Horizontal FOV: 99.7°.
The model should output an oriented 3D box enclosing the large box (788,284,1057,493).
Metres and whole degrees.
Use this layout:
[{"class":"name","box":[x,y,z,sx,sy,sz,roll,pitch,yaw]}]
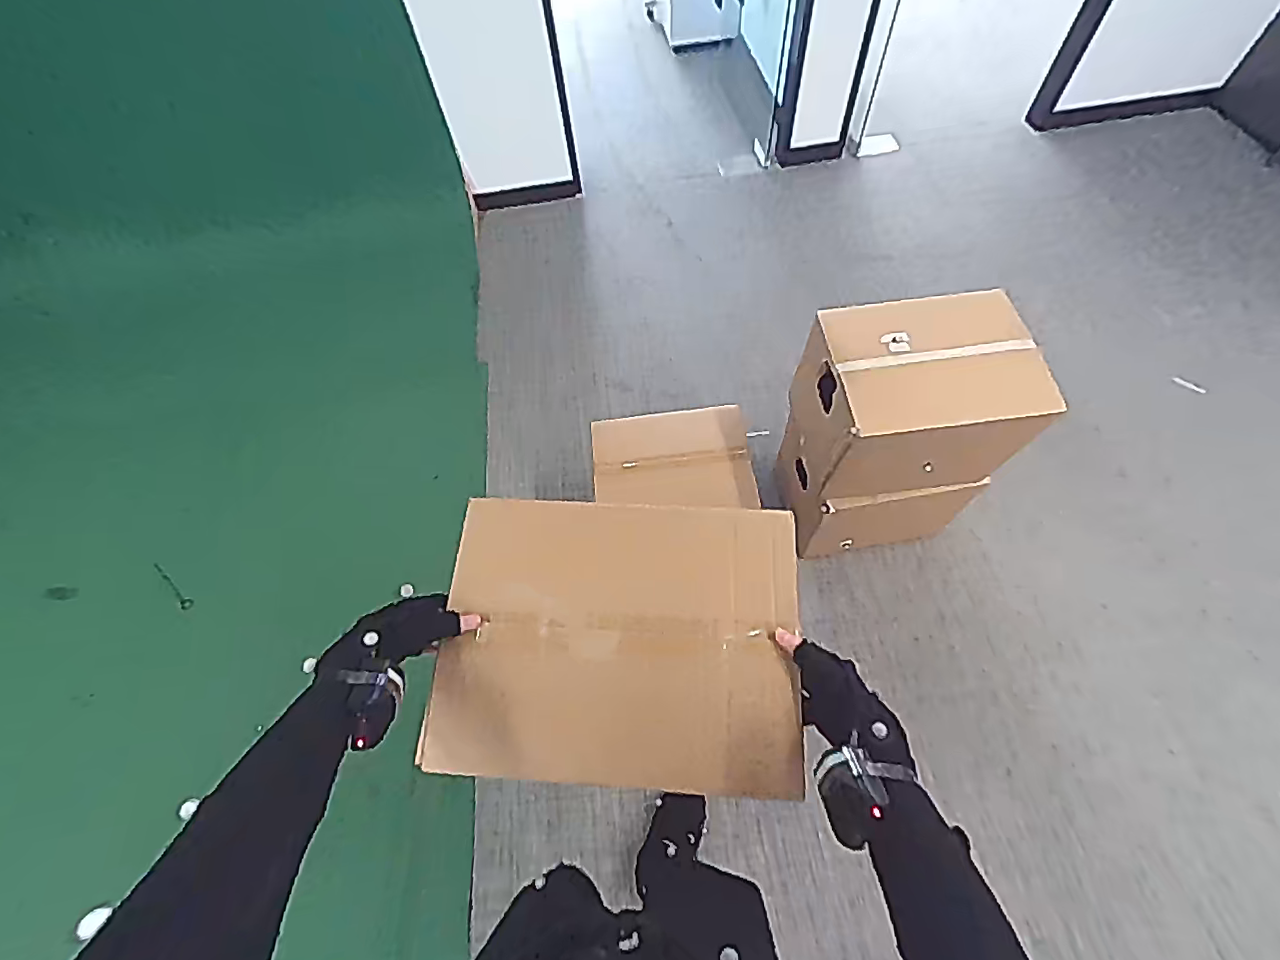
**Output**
[{"class":"large box","box":[0.587,-0.189,1.215,0.408,0.320,0.320,-8,65,1]}]
